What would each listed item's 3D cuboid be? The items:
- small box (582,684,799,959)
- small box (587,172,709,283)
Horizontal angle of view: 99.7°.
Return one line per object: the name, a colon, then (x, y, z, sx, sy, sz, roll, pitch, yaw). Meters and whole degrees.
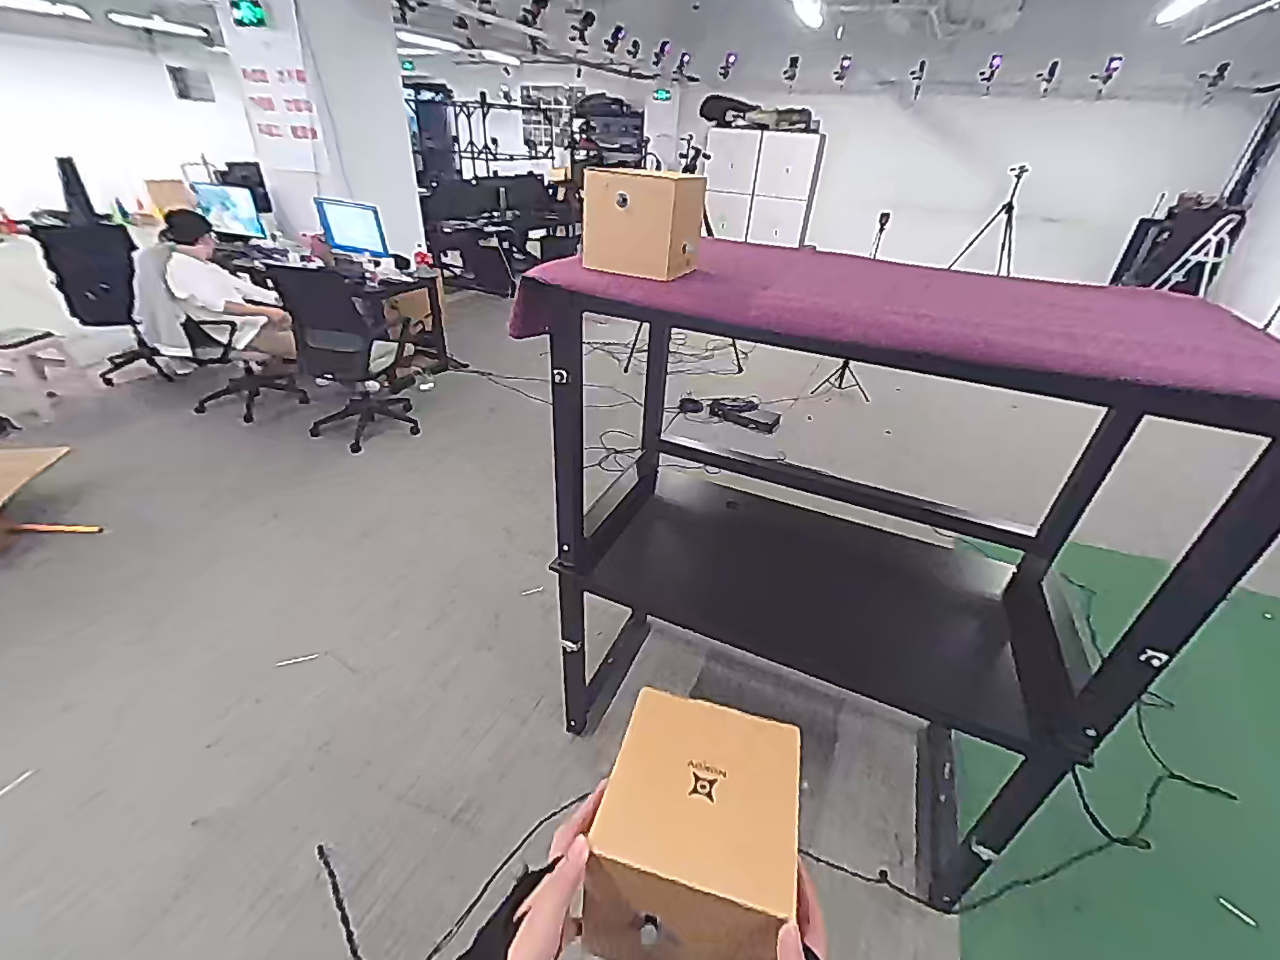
small box: (0.053, 0.336, 0.517, 0.168, 0.176, 0.179, 10, 27, 13)
small box: (0.012, -0.476, 1.018, 0.179, 0.176, 0.168, 17, 34, 19)
